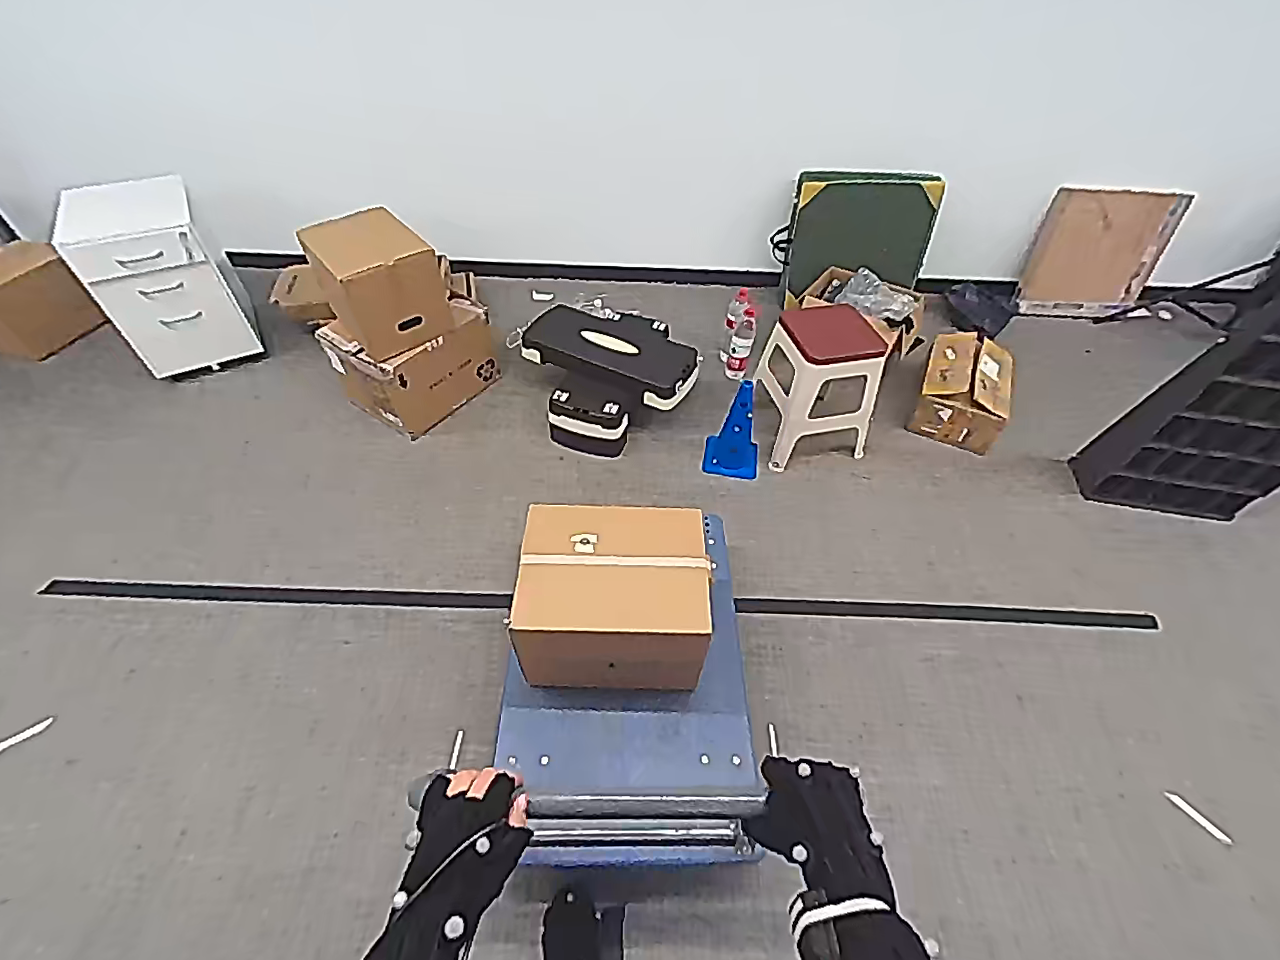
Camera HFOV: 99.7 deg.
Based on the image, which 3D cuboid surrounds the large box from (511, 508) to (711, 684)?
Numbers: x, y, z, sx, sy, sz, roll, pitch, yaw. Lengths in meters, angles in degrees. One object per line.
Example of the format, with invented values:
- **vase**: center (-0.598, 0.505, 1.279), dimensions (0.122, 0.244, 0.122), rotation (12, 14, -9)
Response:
- **large box**: center (-0.060, 0.279, 1.278), dimensions (0.408, 0.320, 0.320), rotation (1, 49, -1)
